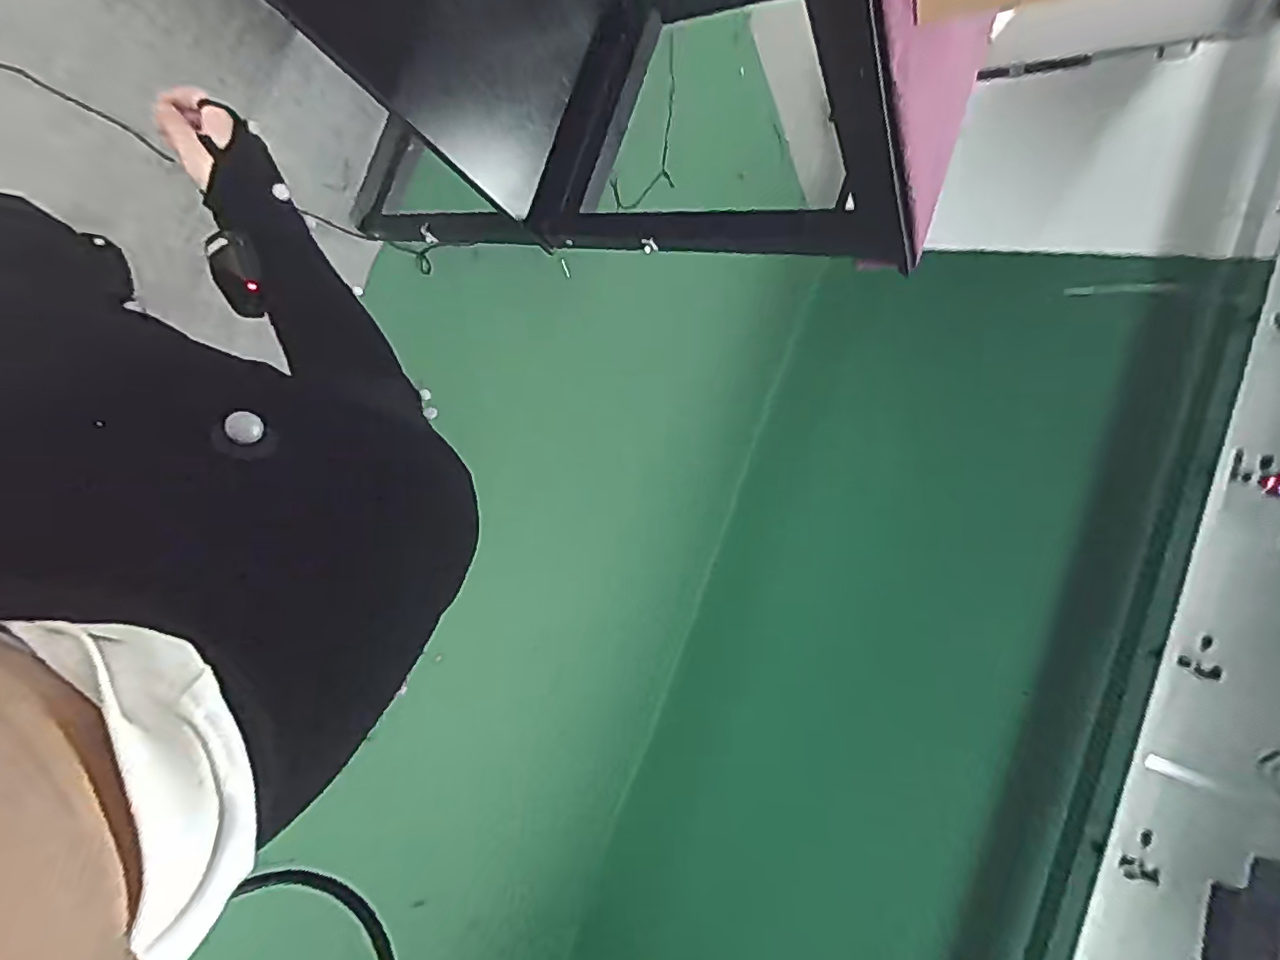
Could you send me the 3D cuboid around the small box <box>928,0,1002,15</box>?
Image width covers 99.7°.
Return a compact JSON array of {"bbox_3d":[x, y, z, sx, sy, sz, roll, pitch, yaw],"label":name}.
[{"bbox_3d":[0.336,-0.533,0.433,0.179,0.176,0.168,30,80,-55],"label":"small box"}]
